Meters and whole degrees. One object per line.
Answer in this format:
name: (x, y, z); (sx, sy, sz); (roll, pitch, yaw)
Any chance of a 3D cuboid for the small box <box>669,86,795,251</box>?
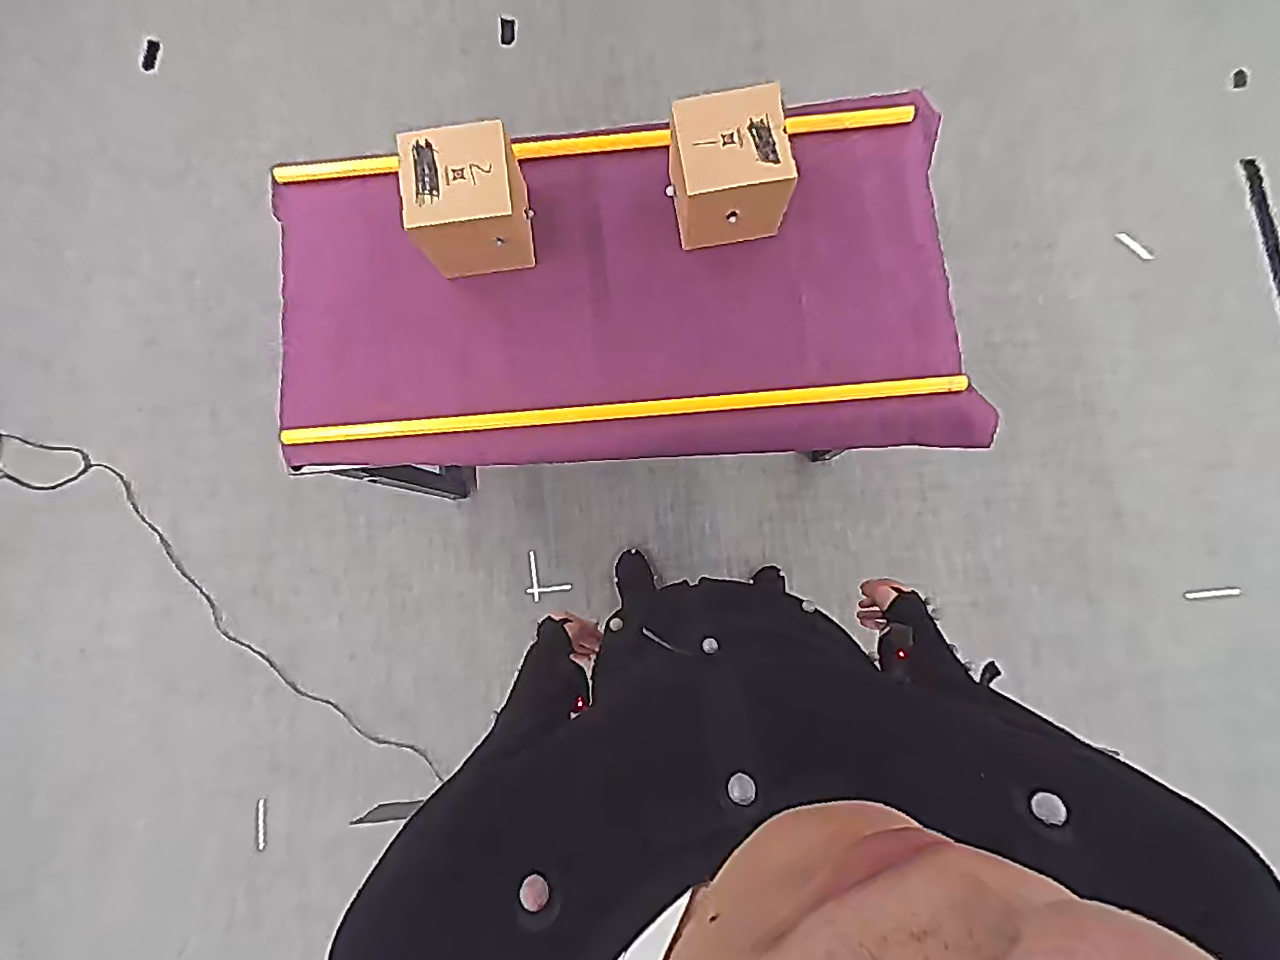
small box: (0.146, -0.517, 0.920); (0.179, 0.176, 0.168); (-9, 84, 2)
